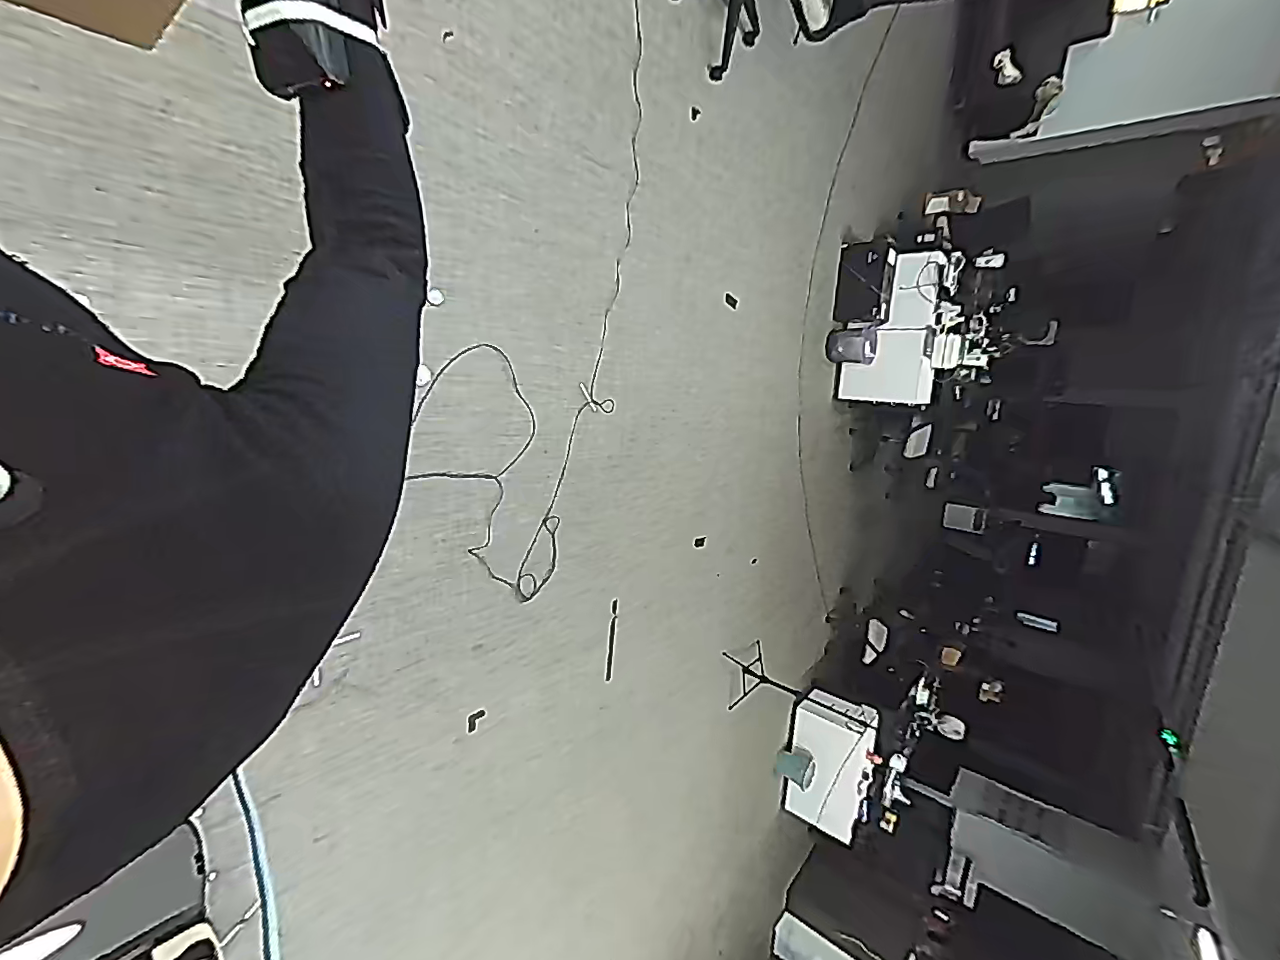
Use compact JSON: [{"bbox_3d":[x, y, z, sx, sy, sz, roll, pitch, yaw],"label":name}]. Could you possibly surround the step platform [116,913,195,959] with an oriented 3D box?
[{"bbox_3d":[-1.283,1.229,1.042,0.684,0.204,0.286,-11,108,-49],"label":"step platform"}]
